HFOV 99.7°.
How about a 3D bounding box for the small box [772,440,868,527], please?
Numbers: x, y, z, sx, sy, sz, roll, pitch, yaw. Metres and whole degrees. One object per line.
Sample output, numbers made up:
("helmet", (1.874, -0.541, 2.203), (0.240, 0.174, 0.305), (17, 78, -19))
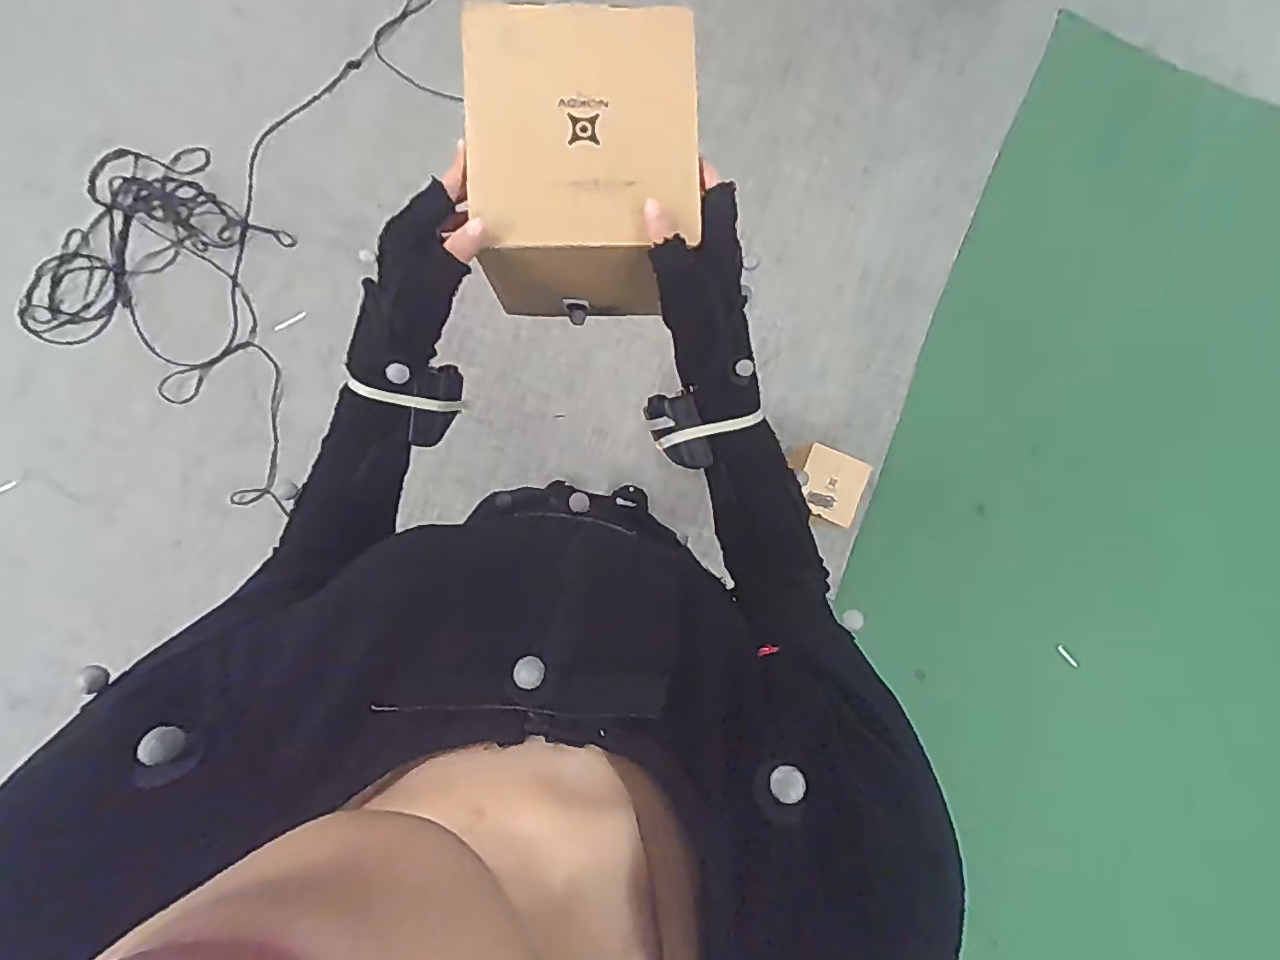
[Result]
("small box", (0.469, 0.011, 1.442), (0.168, 0.176, 0.179), (22, 87, -3))

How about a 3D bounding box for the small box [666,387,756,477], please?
("small box", (0.178, -0.119, 1.428), (0.168, 0.176, 0.179), (27, 88, -3))
